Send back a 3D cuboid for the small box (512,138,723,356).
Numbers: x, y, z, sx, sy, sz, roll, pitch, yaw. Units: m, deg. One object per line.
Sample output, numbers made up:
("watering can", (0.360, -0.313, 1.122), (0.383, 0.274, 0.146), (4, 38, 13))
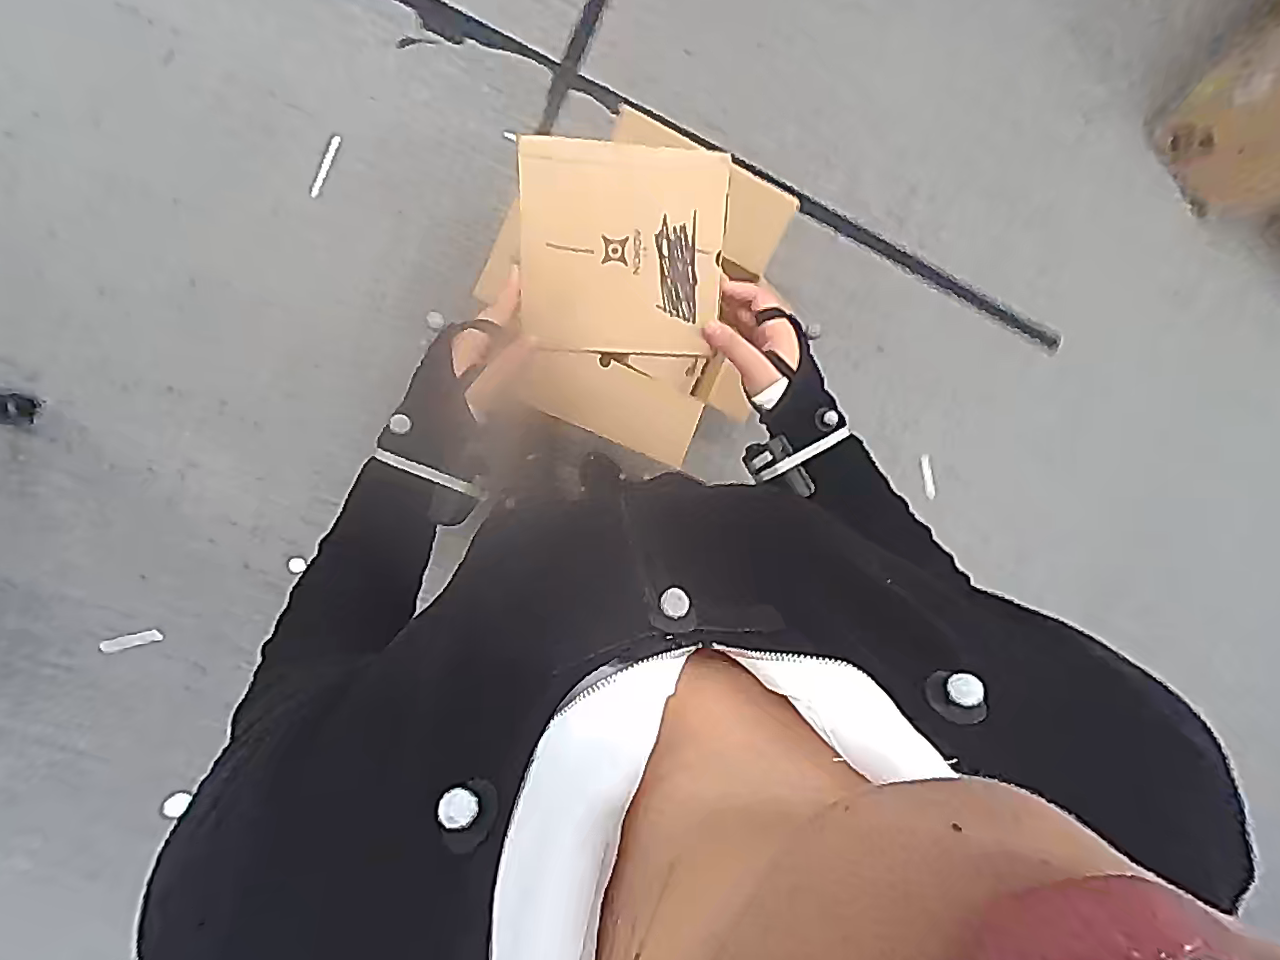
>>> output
("small box", (-0.029, -0.212, 0.533), (0.179, 0.176, 0.168), (-1, 104, -7))
